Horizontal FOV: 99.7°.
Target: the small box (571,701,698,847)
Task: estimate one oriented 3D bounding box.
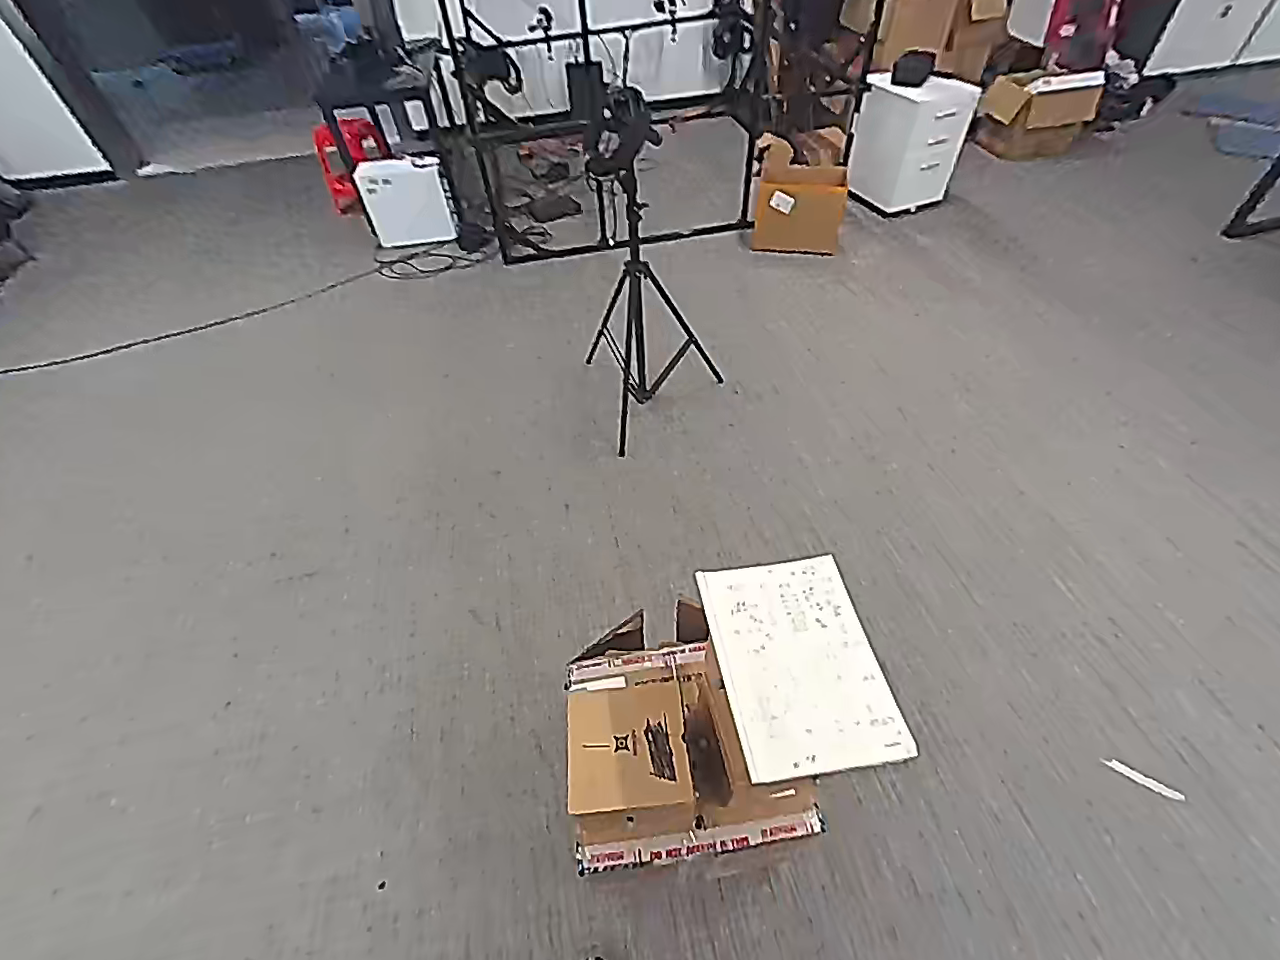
[{"bbox_3d":[-0.010,0.459,0.840,0.179,0.176,0.168,-6,51,-1],"label":"small box"}]

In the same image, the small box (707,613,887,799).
[{"bbox_3d":[0.197,0.310,0.743,0.168,0.176,0.179,-9,50,-7],"label":"small box"}]

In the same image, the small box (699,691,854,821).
[{"bbox_3d":[0.203,0.421,0.862,0.179,0.176,0.168,-11,51,-8],"label":"small box"}]
